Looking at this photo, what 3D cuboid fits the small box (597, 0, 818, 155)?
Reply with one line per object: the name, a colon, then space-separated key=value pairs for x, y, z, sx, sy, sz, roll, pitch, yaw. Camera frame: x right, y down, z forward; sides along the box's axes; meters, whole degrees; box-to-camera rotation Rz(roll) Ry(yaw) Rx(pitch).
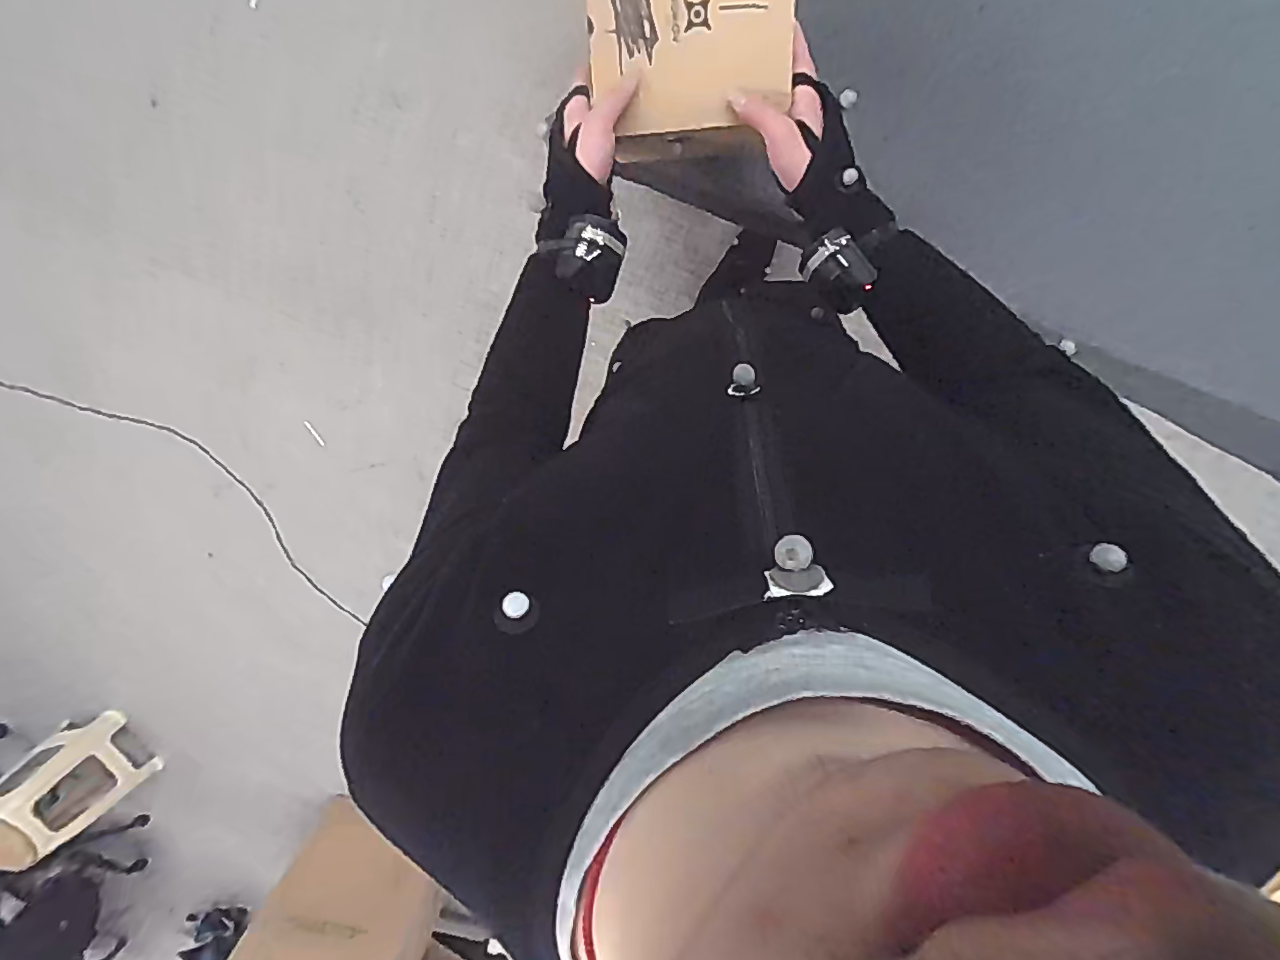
small box: x=0.056 y=-0.410 z=0.497 sx=0.179 sy=0.176 sz=0.168 roll=-2 pitch=113 yaw=4
